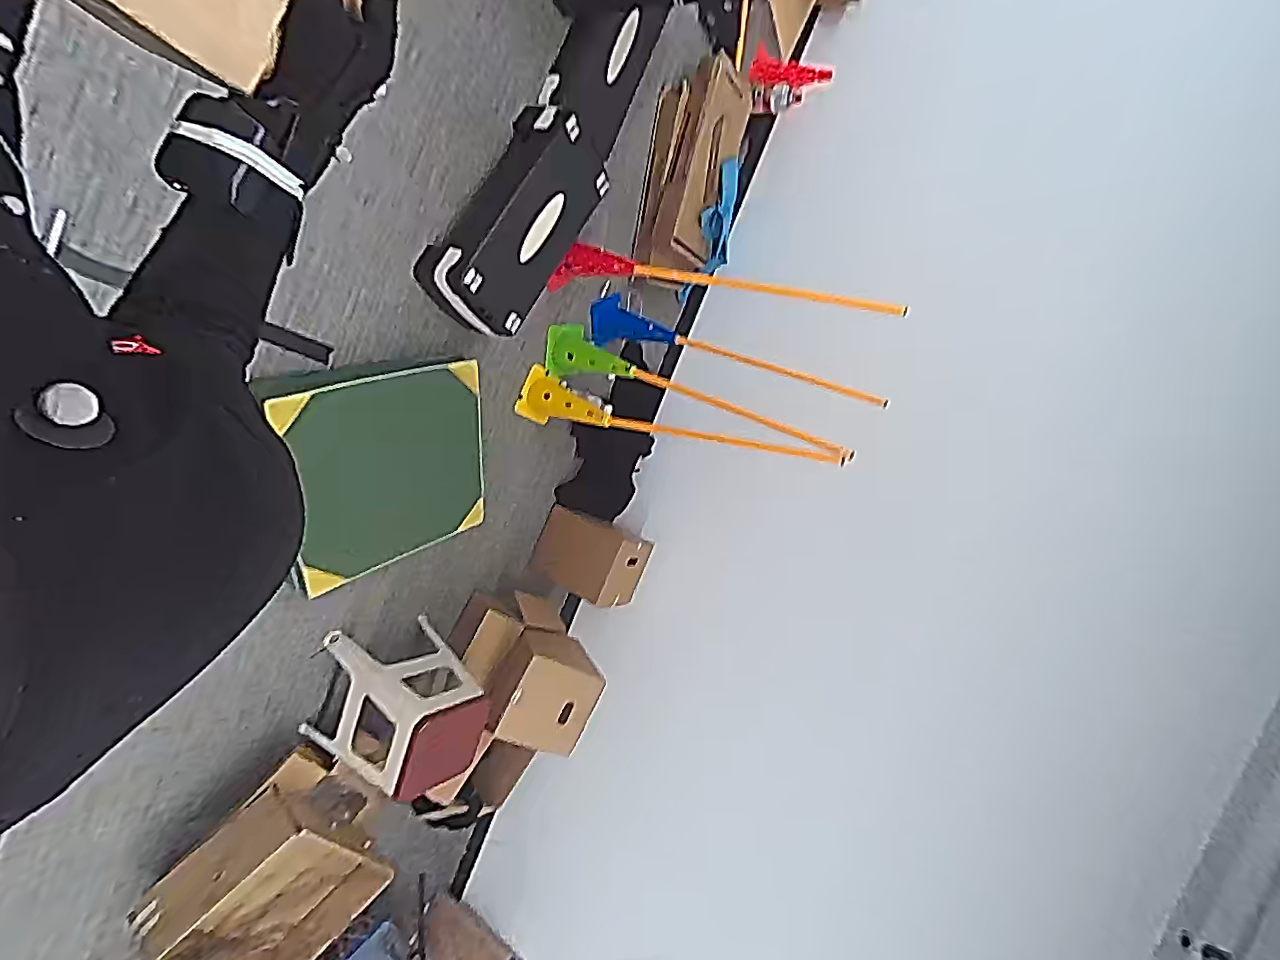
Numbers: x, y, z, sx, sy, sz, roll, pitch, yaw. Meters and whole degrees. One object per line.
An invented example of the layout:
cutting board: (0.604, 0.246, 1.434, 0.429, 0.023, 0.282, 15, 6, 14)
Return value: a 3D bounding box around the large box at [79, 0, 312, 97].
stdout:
large box: (-0.415, -0.529, 0.301, 0.320, 0.320, 0.408, -57, 152, 8)
